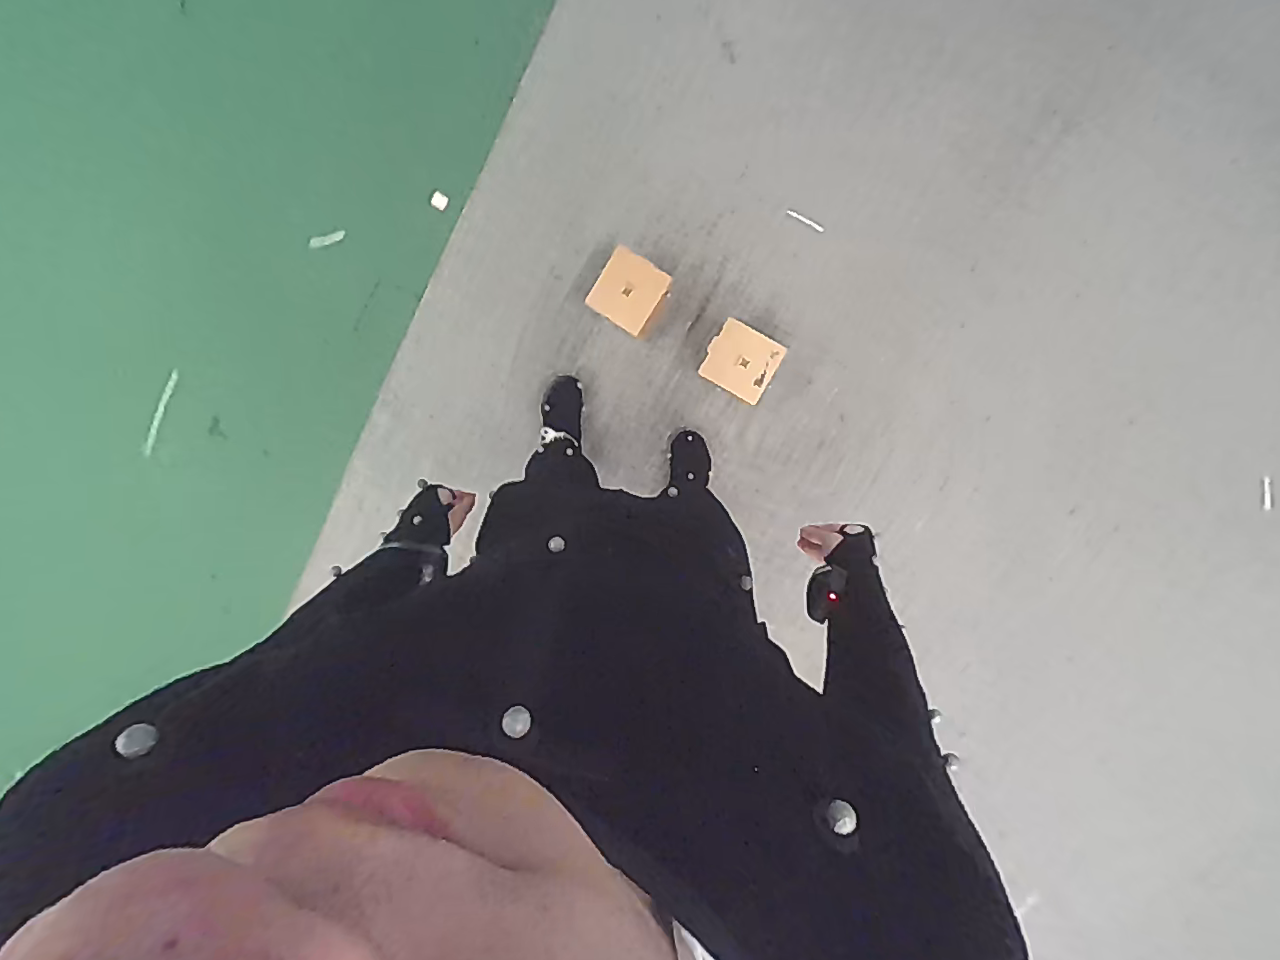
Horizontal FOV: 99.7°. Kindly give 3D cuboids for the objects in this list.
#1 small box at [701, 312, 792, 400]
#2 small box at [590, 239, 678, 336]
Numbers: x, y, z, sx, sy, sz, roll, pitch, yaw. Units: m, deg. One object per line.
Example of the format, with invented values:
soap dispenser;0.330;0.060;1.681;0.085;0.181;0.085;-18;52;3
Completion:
small box;0.280;-0.324;1.451;0.179;0.176;0.168;31;101;2
small box;-0.008;-0.510;1.463;0.168;0.176;0.179;34;100;1
